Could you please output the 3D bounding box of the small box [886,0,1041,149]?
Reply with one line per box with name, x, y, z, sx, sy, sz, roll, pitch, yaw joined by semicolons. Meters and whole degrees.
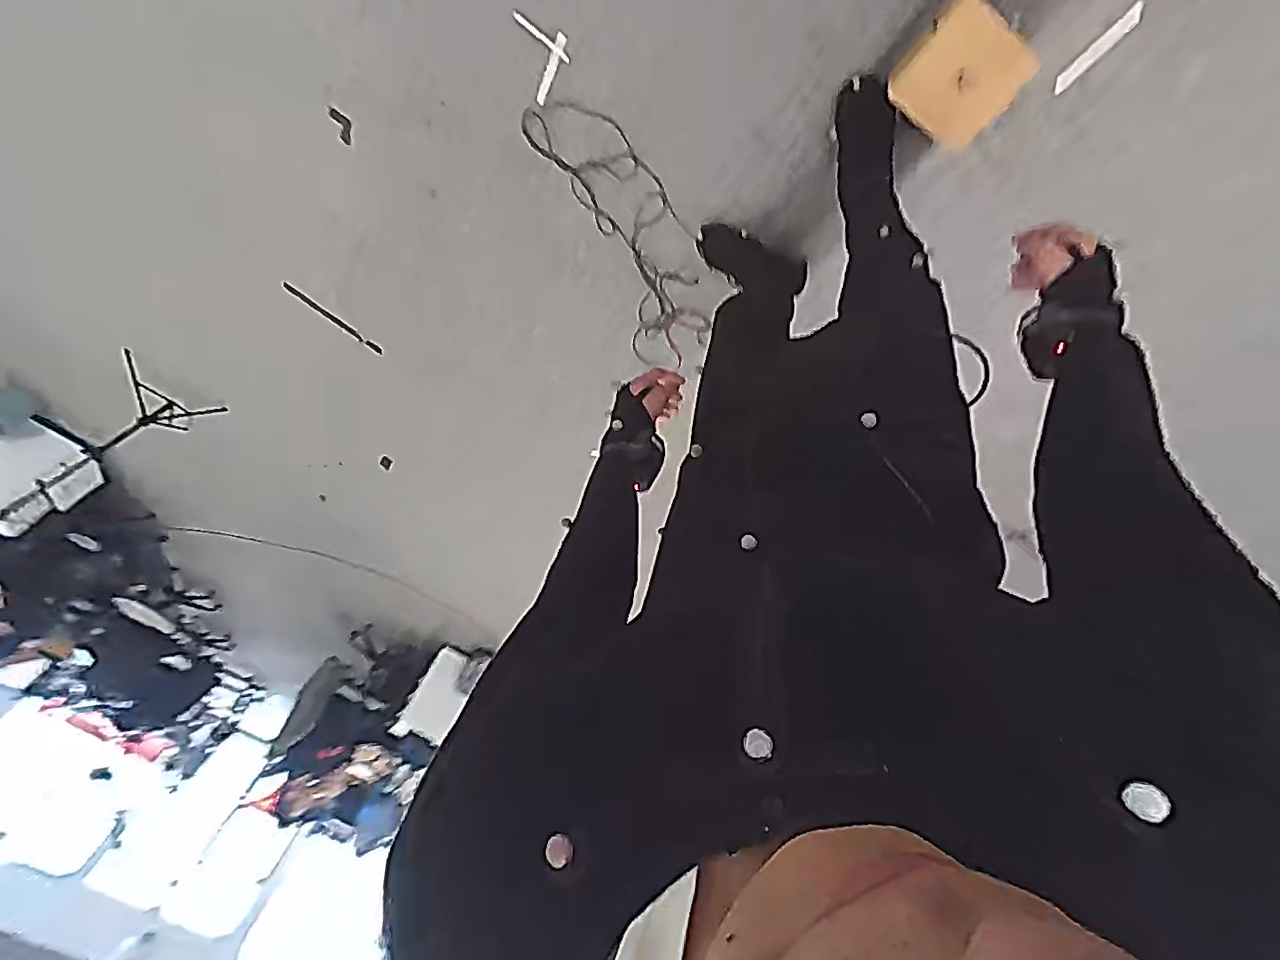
small box;0.571;-0.748;0.979;0.179;0.176;0.168;32;138;-10
